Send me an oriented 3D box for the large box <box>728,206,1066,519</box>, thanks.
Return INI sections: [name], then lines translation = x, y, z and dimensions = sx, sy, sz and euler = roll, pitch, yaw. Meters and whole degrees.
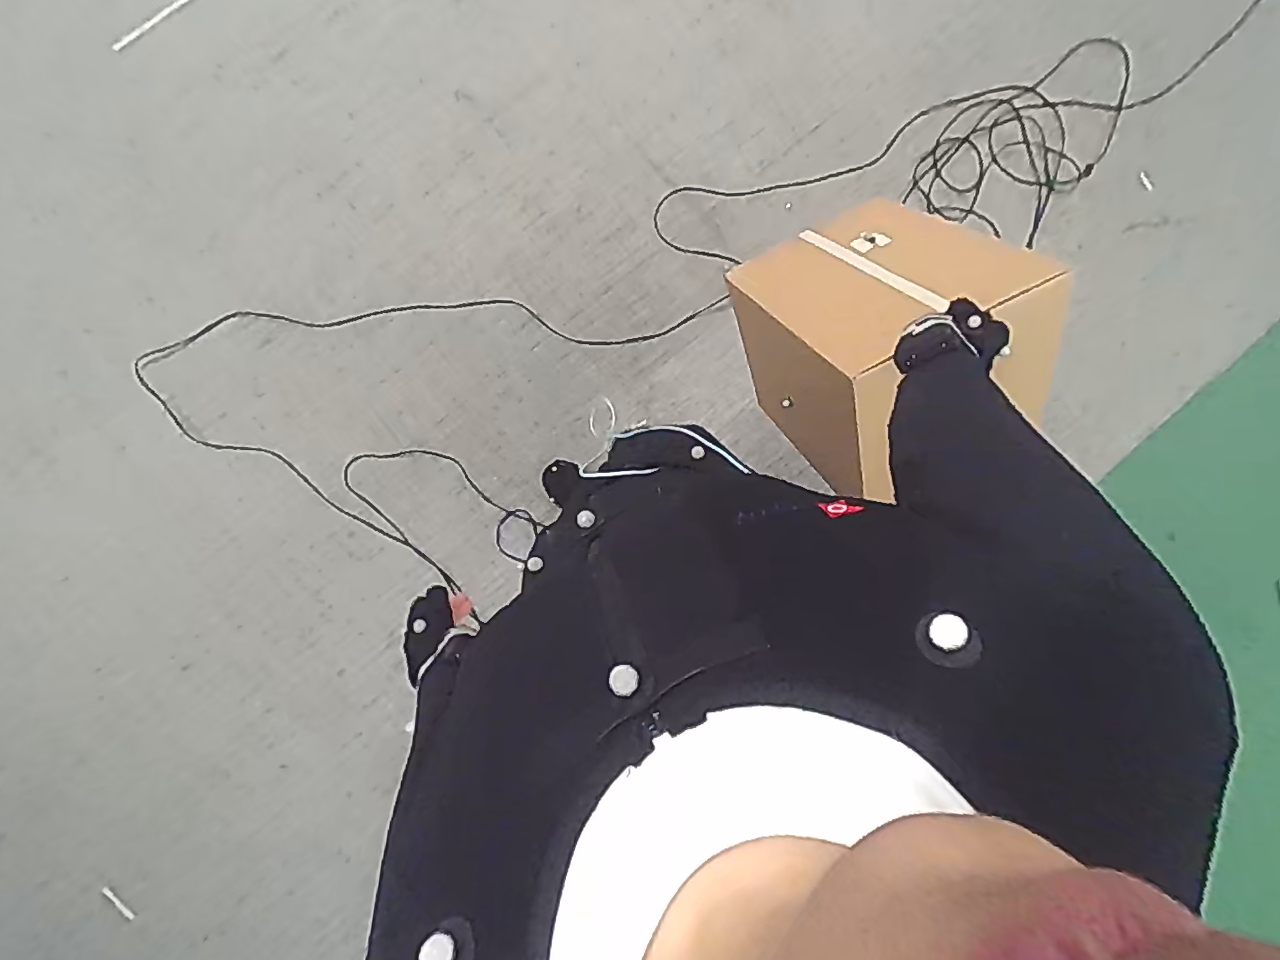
[large box]
translation = 0.405, -0.212, 0.930
dimensions = 0.320, 0.408, 0.320
euler = -26, 131, 1
